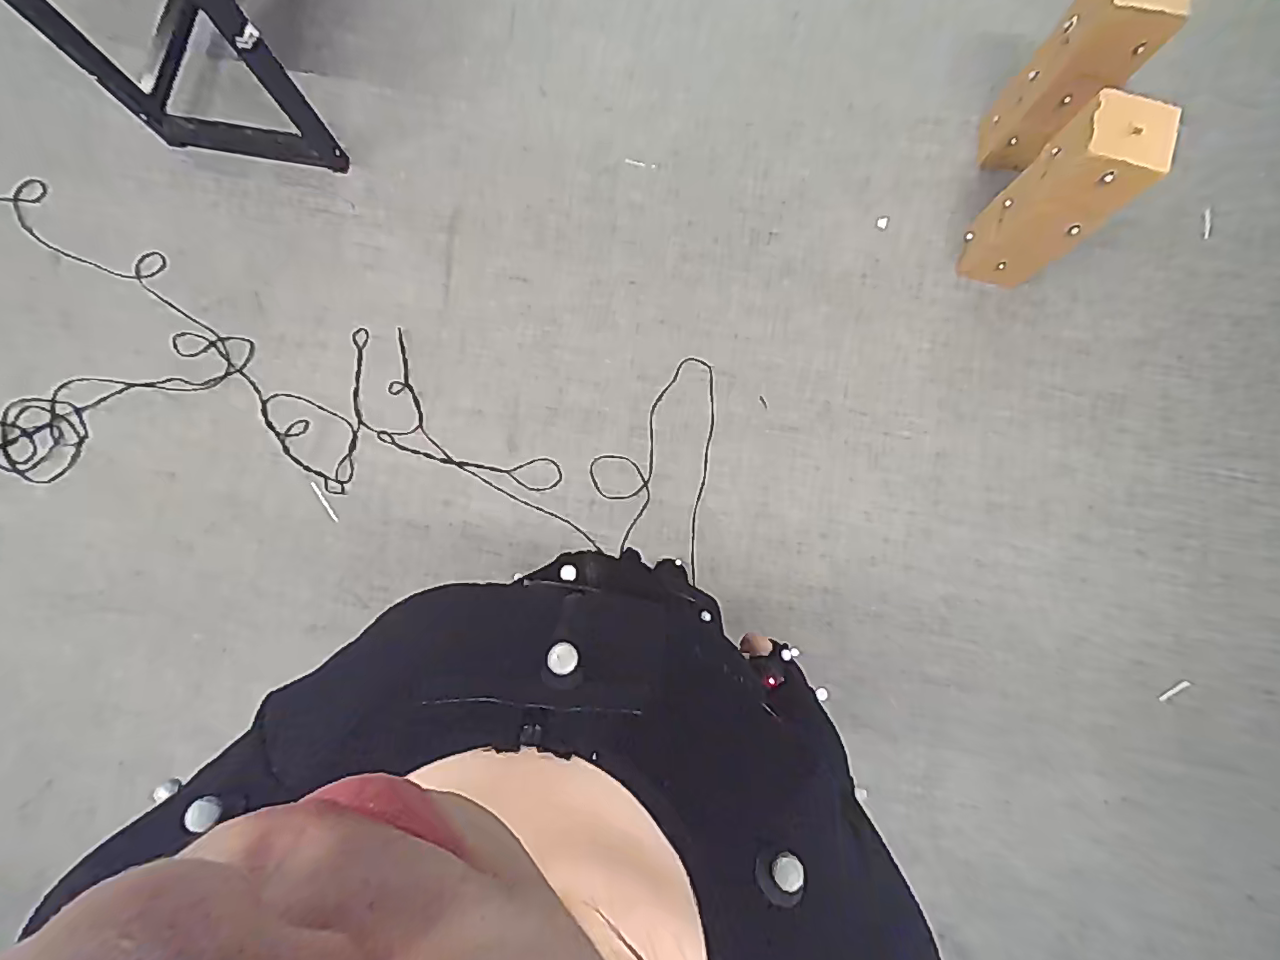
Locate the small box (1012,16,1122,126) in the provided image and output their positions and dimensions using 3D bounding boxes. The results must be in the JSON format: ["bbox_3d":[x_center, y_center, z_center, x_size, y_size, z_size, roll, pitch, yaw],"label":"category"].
[{"bbox_3d":[1.145,-1.097,1.461,0.179,0.176,0.168,8,82,1],"label":"small box"}]

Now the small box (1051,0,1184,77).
[{"bbox_3d":[1.142,-1.117,1.300,0.179,0.176,0.168,8,81,1],"label":"small box"}]

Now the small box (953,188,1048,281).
[{"bbox_3d":[1.057,-0.705,1.574,0.179,0.176,0.168,16,83,3],"label":"small box"}]

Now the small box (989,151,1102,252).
[{"bbox_3d":[1.061,-0.724,1.411,0.179,0.176,0.168,15,82,2],"label":"small box"}]

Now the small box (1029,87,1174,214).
[{"bbox_3d":[1.058,-0.750,1.250,0.179,0.176,0.168,17,83,2],"label":"small box"}]
